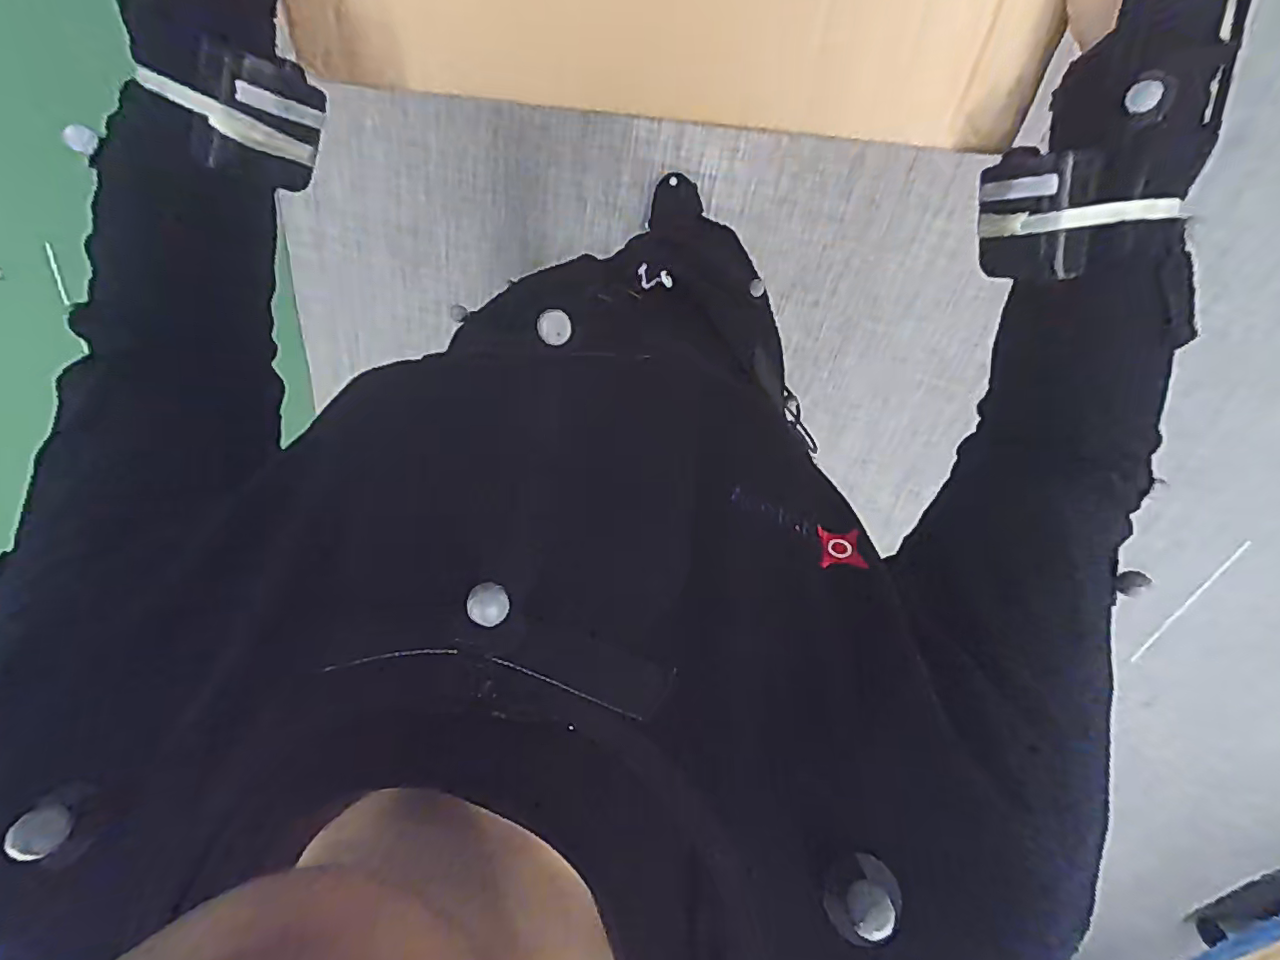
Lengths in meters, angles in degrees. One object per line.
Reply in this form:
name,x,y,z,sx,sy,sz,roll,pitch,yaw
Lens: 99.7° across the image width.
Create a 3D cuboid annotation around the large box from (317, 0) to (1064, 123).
large box,0.037,-0.433,0.333,0.408,0.320,0.320,7,130,1
